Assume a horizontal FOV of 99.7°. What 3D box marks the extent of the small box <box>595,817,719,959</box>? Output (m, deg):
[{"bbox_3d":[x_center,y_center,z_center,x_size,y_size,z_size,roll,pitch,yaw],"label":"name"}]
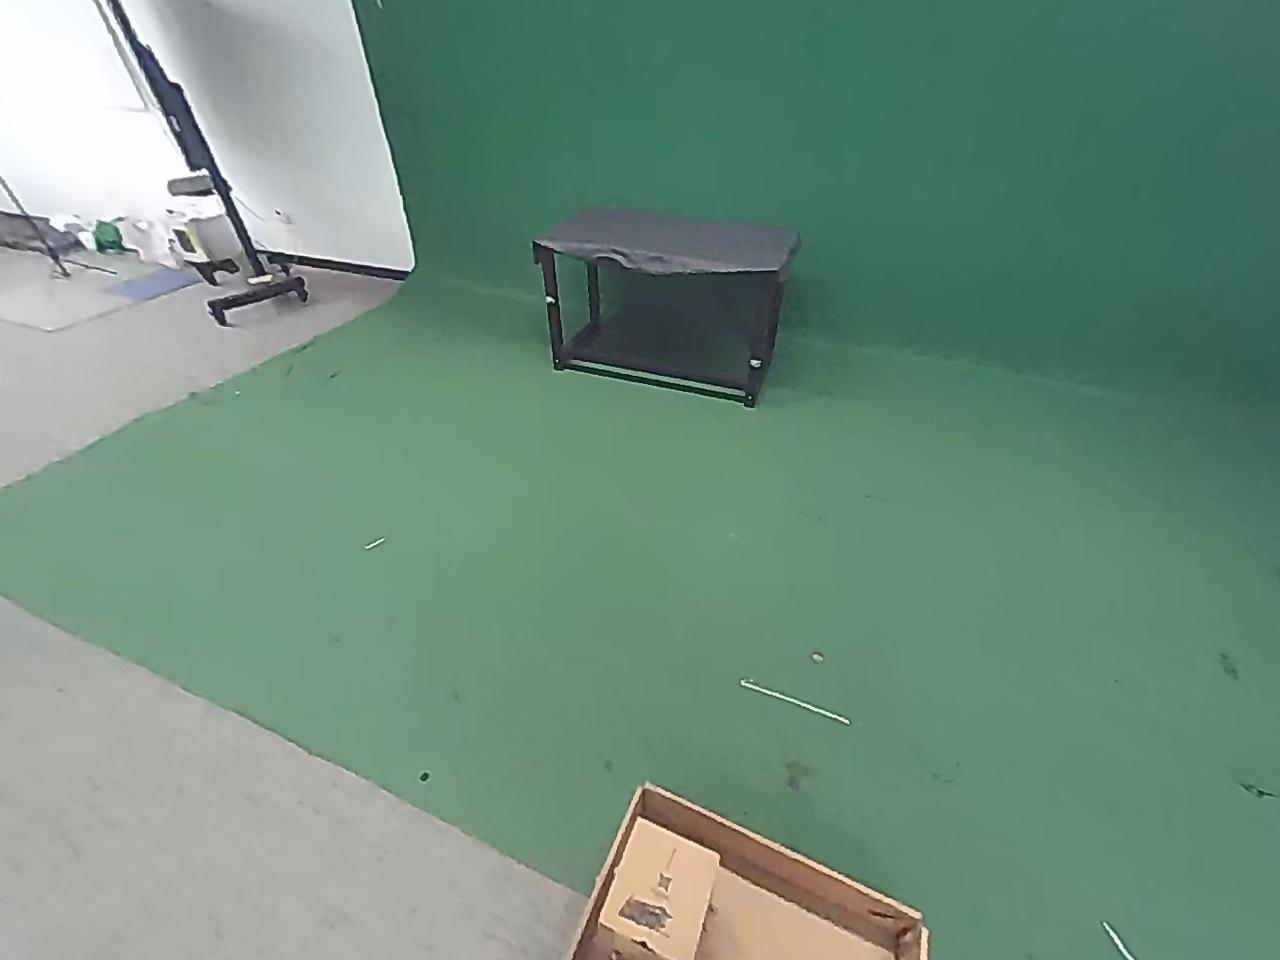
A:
[{"bbox_3d":[0.034,0.762,0.976,0.168,0.176,0.179,16,42,17],"label":"small box"}]
